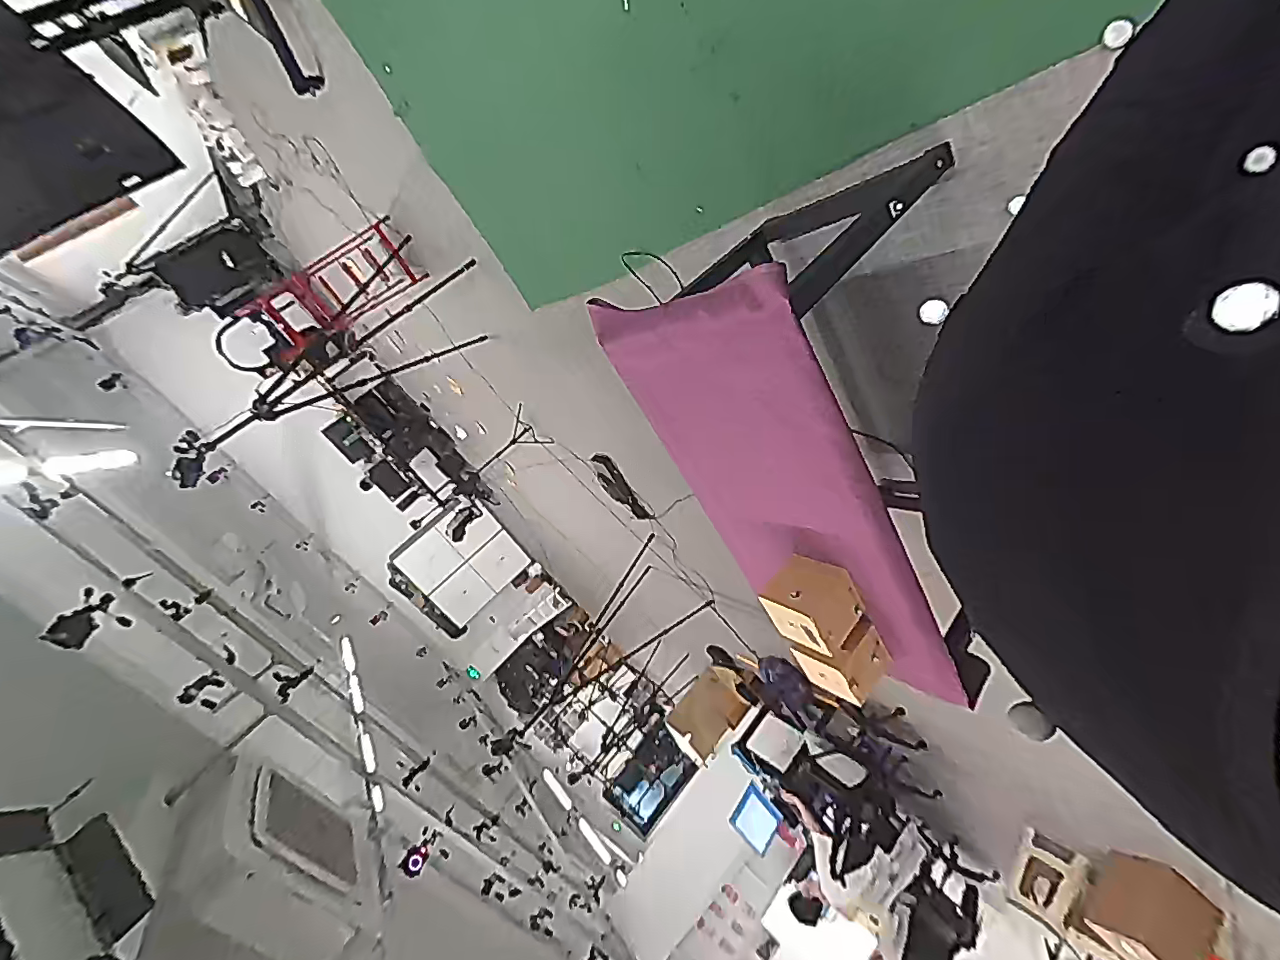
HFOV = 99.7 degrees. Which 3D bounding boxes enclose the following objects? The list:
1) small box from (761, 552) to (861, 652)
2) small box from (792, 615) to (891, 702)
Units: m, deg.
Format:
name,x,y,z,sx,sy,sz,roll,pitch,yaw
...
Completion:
name,x,y,z,sx,sy,sz,roll,pitch,yaw
small box,0.461,0.315,1.434,0.179,0.176,0.168,13,142,56
small box,0.572,0.481,1.529,0.179,0.176,0.168,11,140,56
